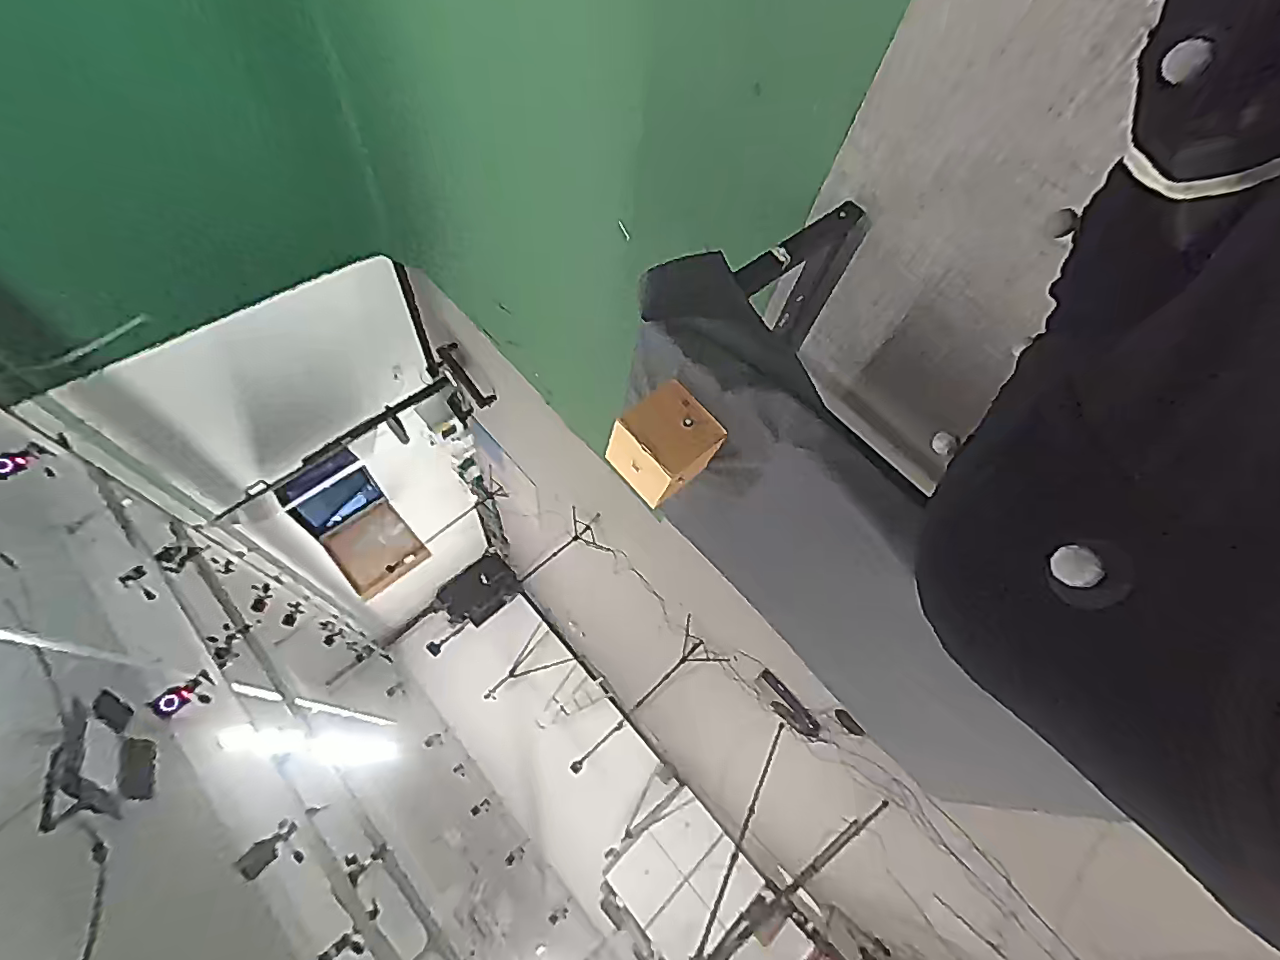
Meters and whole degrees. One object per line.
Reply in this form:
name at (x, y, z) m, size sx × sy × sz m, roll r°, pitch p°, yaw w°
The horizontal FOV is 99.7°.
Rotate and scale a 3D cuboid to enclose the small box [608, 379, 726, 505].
small box at (0.056, -0.080, 1.155) m, size 0.168 × 0.176 × 0.179 m, roll 48°, pitch 156°, yaw 11°
